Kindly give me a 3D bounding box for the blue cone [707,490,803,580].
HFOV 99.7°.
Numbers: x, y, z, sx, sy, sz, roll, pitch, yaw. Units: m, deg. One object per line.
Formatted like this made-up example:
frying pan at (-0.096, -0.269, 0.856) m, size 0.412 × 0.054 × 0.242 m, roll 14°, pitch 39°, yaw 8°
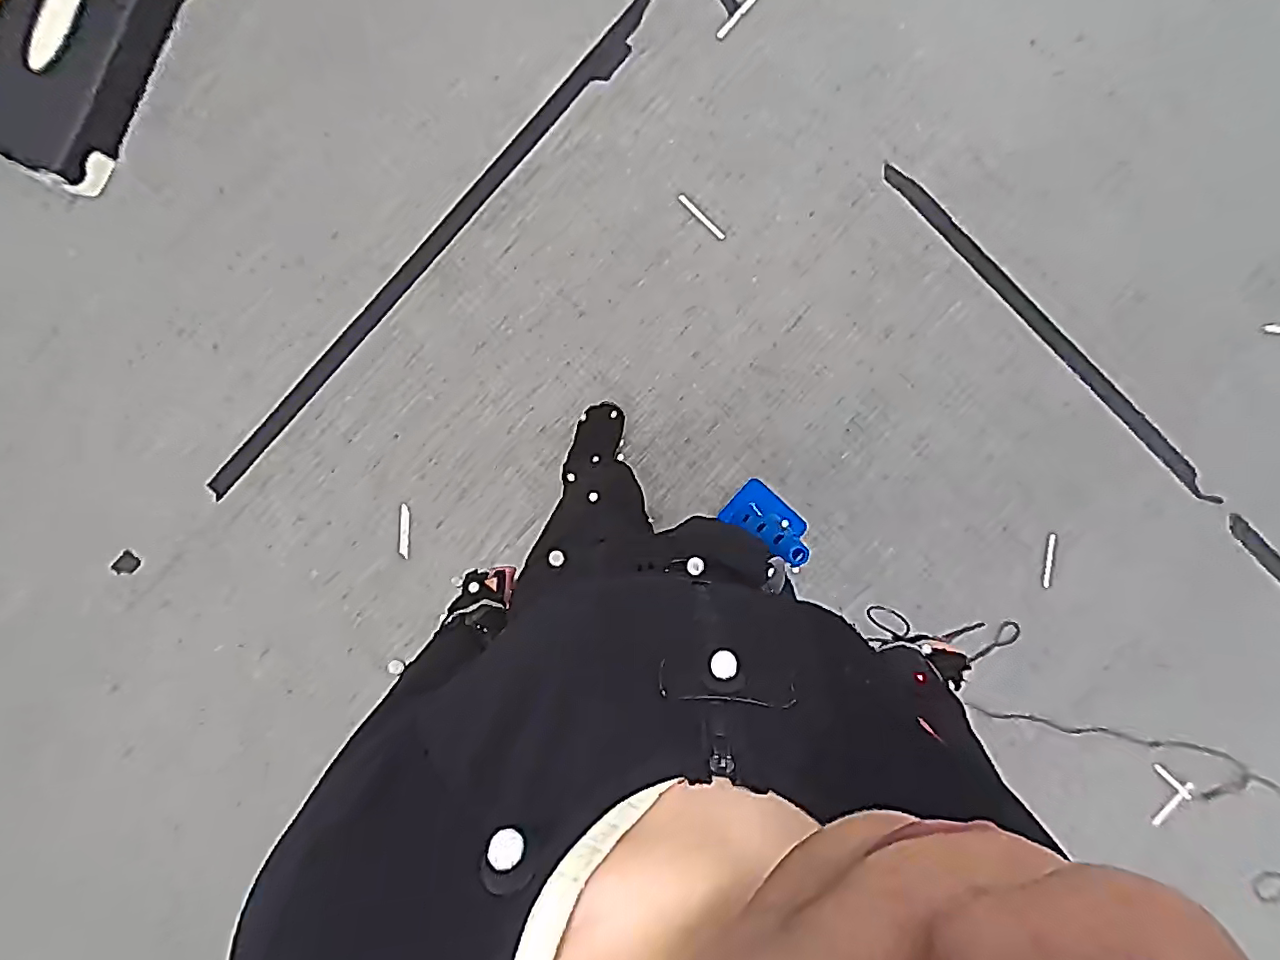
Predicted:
blue cone at (0.294, 0.148, 1.204) m, size 0.193 × 0.380 × 0.192 m, roll 43°, pitch 92°, yaw -3°
